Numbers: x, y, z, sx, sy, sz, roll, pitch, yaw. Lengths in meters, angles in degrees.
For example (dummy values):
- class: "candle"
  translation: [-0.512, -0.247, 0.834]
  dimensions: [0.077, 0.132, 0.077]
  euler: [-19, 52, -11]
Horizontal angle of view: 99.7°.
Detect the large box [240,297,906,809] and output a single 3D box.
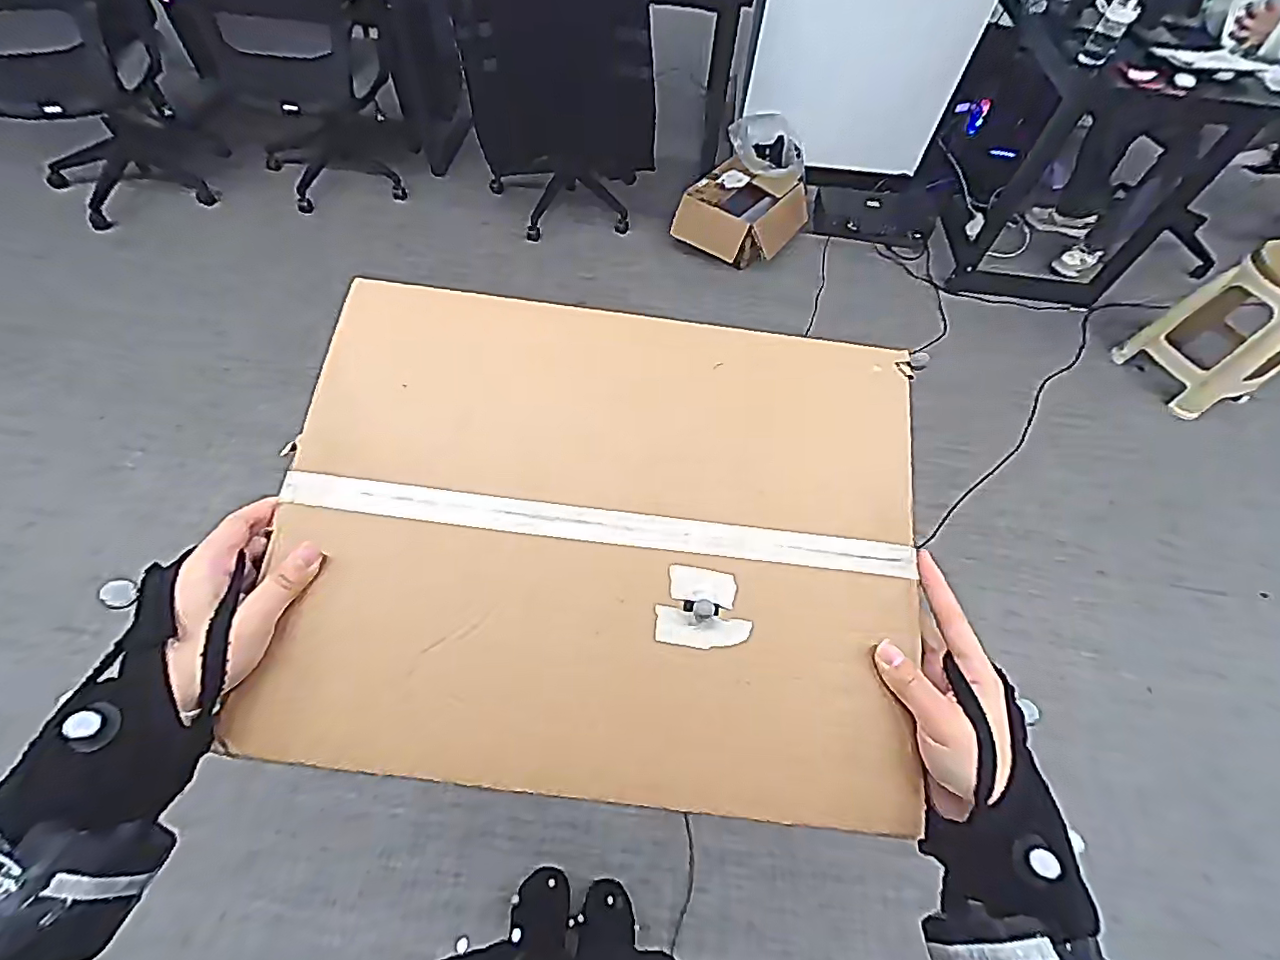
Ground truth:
- class: "large box"
  translation: [-0.032, 0.073, 0.503]
  dimensions: [0.408, 0.320, 0.320]
  euler: [7, 74, -1]
